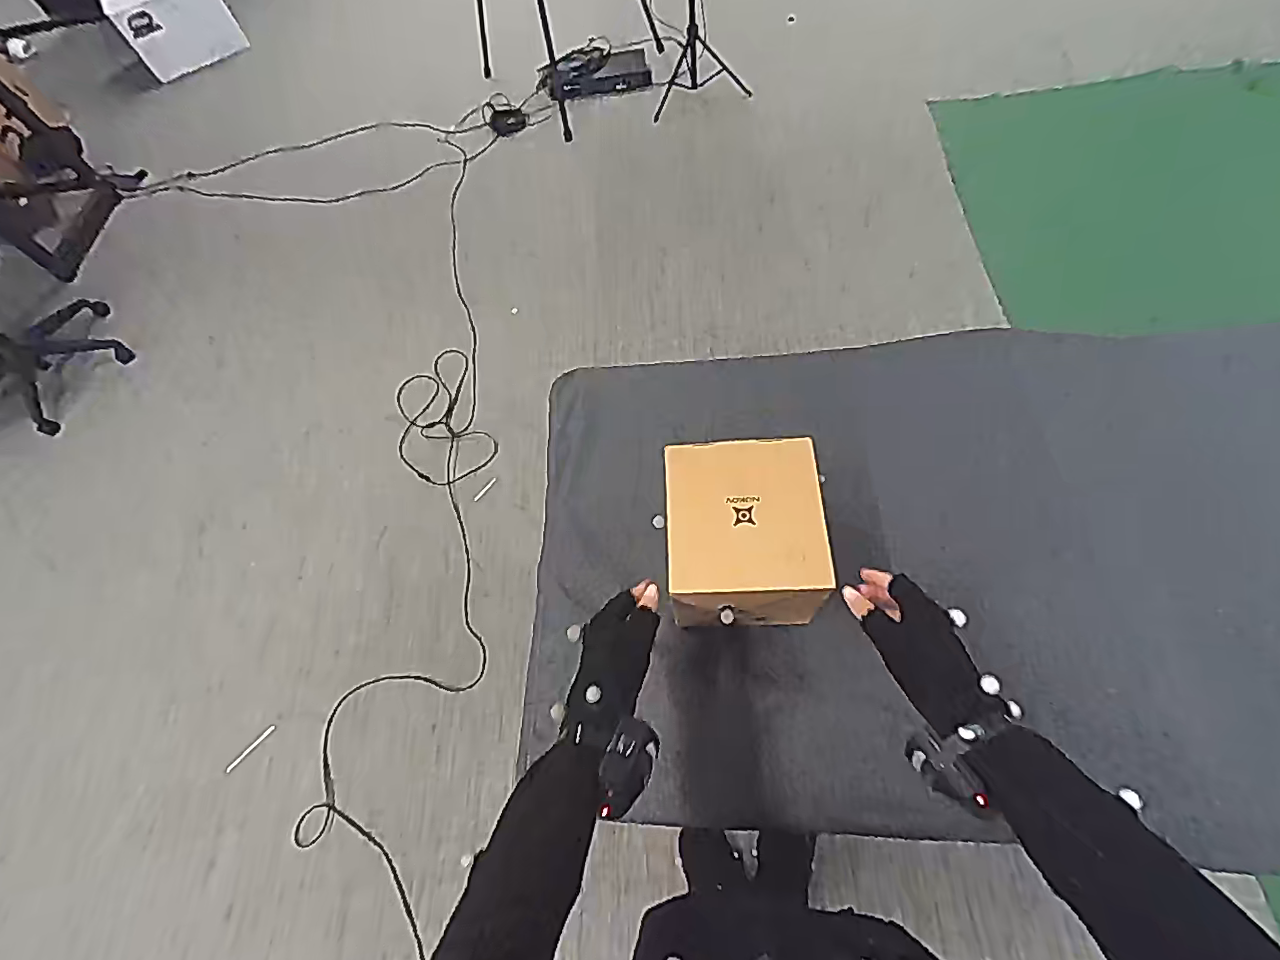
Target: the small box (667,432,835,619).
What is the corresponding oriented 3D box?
[{"bbox_3d":[0.122,0.064,0.641,0.168,0.176,0.179,-4,63,6],"label":"small box"}]
